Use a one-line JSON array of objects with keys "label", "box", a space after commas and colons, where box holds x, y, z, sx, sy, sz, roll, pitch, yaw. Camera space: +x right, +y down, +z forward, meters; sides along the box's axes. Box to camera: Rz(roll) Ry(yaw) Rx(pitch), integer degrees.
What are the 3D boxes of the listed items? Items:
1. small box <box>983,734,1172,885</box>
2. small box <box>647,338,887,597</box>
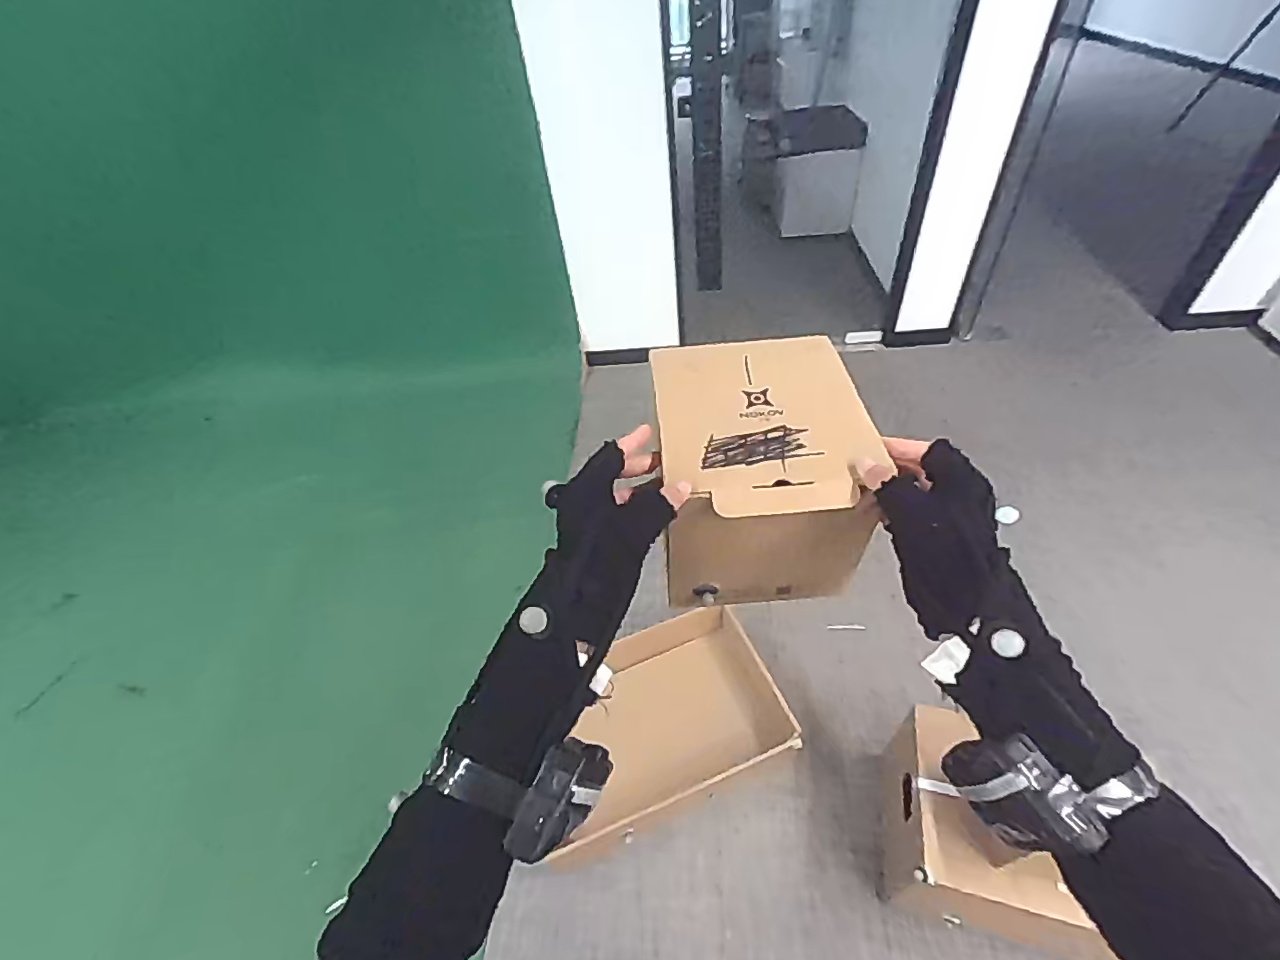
[{"label": "small box", "box": [0.691, 0.542, 0.887, 0.179, 0.176, 0.168, 3, 47, 12]}, {"label": "small box", "box": [0.097, -0.004, 0.497, 0.168, 0.176, 0.179, -5, 48, 0]}]
